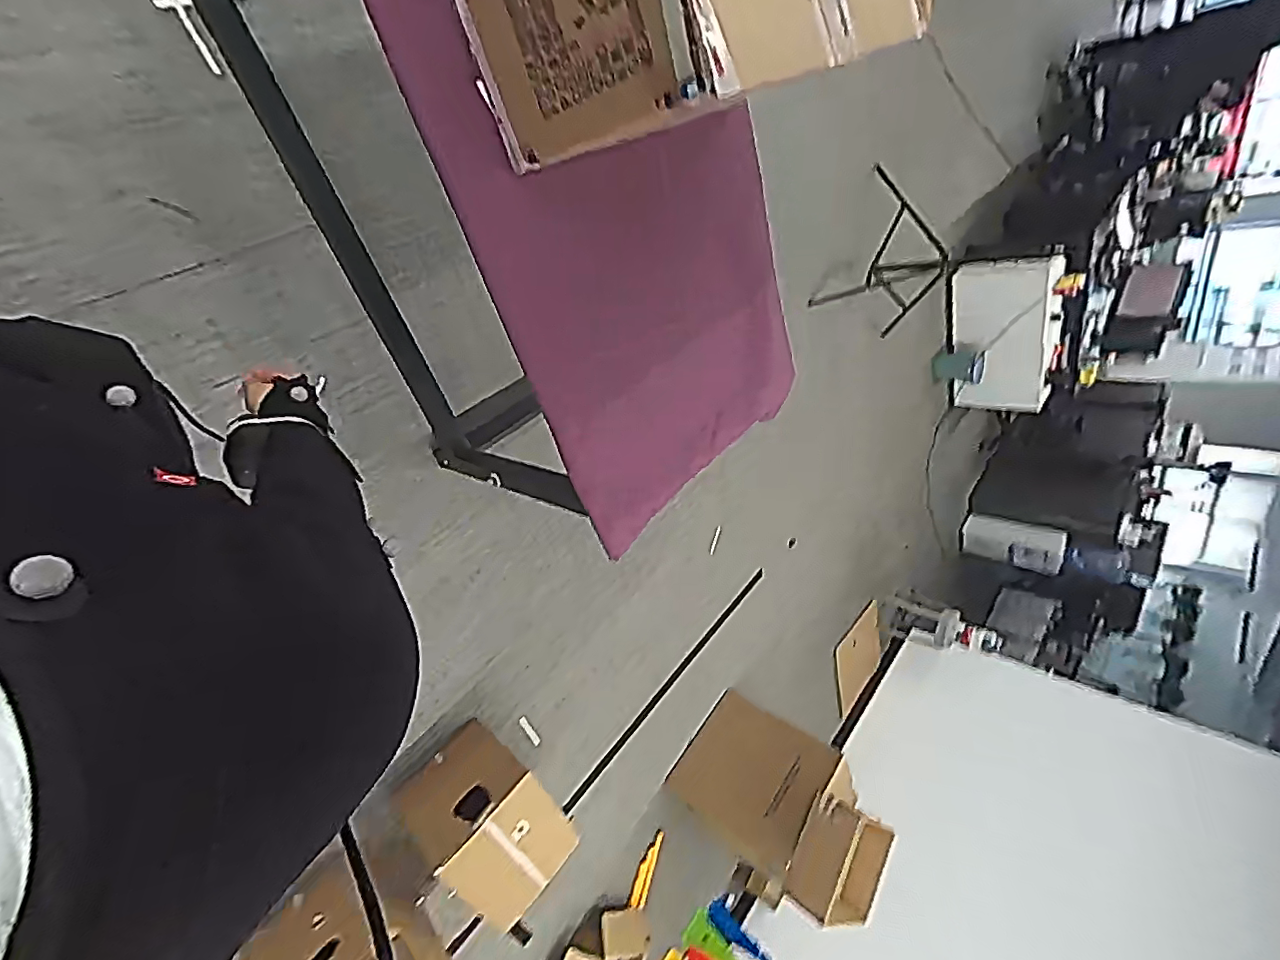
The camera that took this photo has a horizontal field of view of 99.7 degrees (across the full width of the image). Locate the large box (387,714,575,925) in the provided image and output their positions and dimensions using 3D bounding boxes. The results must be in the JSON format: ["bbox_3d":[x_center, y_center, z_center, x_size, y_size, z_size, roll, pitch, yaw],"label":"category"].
[{"bbox_3d":[-0.462,0.989,1.601,0.320,0.320,0.408,-42,126,-30],"label":"large box"}]
